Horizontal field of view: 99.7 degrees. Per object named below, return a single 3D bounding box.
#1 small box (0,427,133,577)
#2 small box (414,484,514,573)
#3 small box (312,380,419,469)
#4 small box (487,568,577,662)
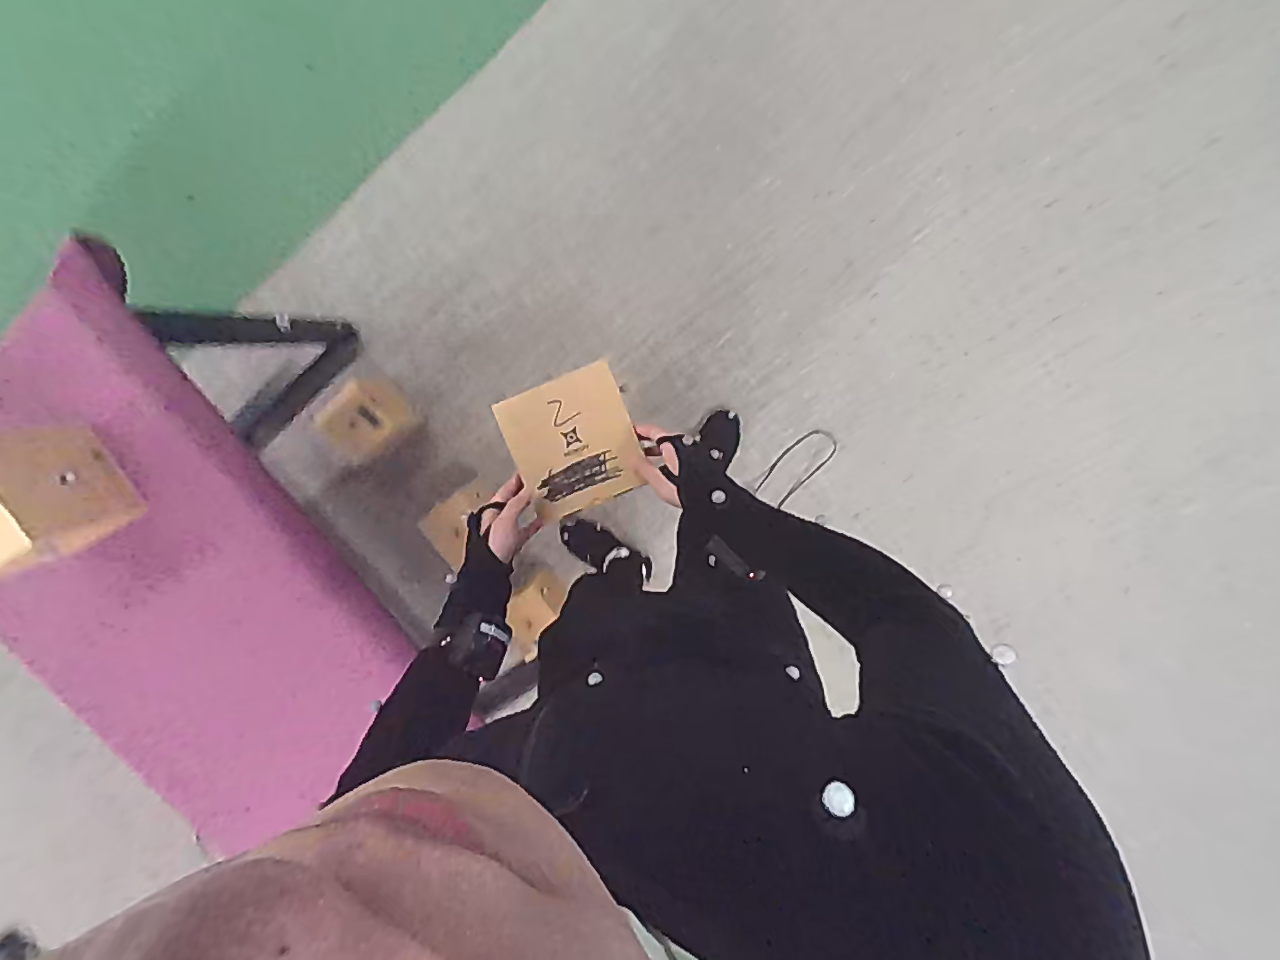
[{"bbox_3d":[-0.929,0.034,0.810,0.179,0.176,0.168,-26,100,11],"label":"small box"},{"bbox_3d":[-0.493,0.127,1.540,0.168,0.176,0.179,-35,98,14],"label":"small box"},{"bbox_3d":[-0.744,-0.161,1.494,0.179,0.176,0.168,-39,97,14],"label":"small box"},{"bbox_3d":[-0.307,0.389,1.586,0.168,0.176,0.179,-36,97,13],"label":"small box"}]
